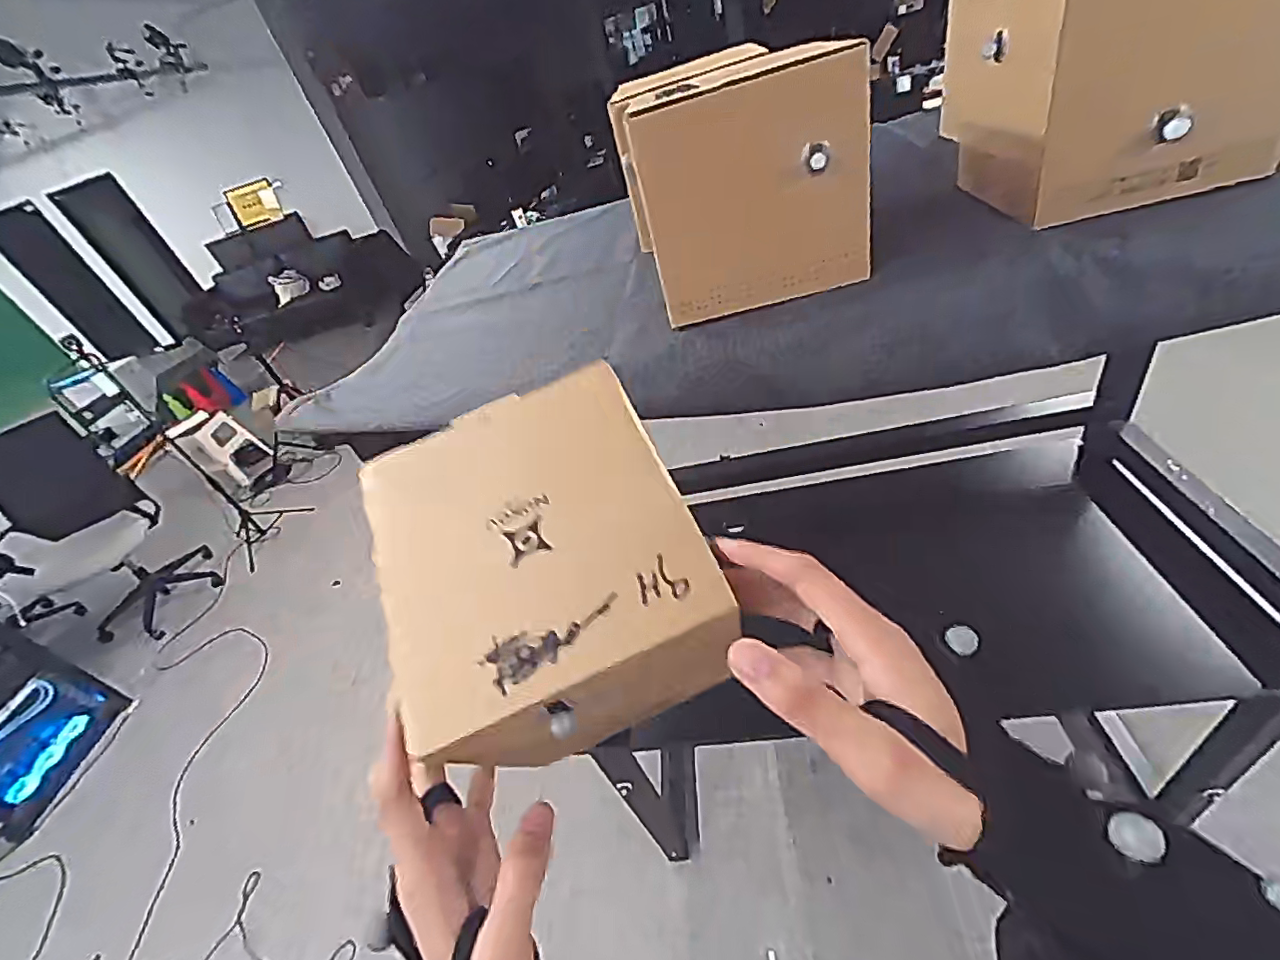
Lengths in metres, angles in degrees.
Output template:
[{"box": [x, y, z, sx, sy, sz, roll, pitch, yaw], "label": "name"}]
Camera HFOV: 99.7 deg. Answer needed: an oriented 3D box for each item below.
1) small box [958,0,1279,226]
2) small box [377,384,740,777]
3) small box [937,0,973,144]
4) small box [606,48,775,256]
[{"box": [0.385, -0.331, 0.449, 0.168, 0.176, 0.179, -9, 38, 14], "label": "small box"}, {"box": [-0.045, 0.076, 0.362, 0.168, 0.176, 0.179, -24, 58, -2], "label": "small box"}, {"box": [0.456, -0.483, 0.603, 0.168, 0.176, 0.179, -11, 39, 9], "label": "small box"}, {"box": [0.070, -0.409, 0.680, 0.179, 0.176, 0.168, -10, 39, 12], "label": "small box"}]
